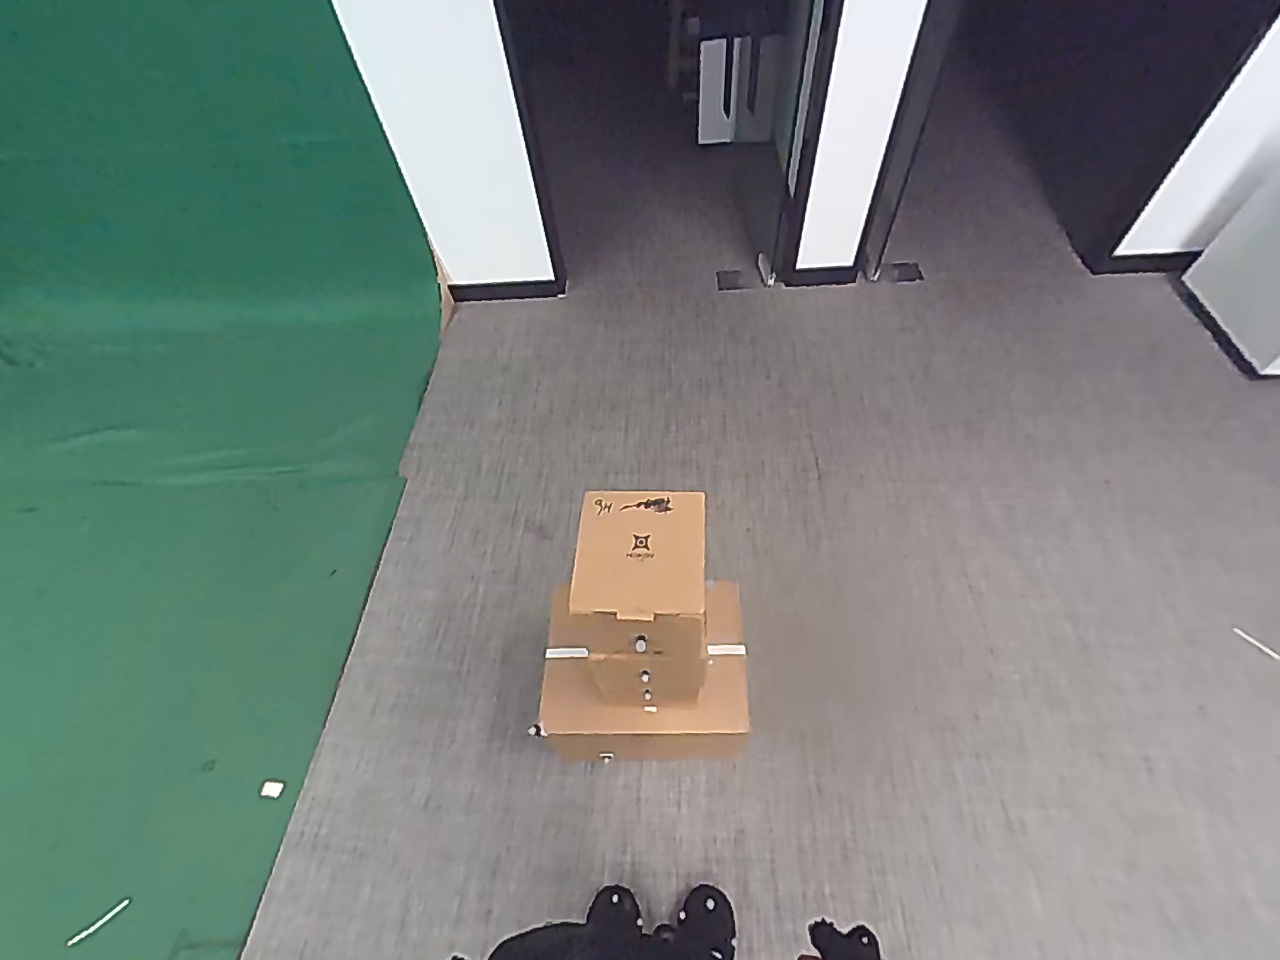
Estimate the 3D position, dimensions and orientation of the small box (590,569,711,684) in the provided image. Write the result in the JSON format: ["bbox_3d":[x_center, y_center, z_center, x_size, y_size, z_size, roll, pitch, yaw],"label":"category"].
[{"bbox_3d":[0.016,0.230,0.885,0.179,0.176,0.168,-3,56,2],"label":"small box"}]

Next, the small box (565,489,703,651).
[{"bbox_3d":[0.003,0.130,0.755,0.168,0.176,0.179,1,57,6],"label":"small box"}]

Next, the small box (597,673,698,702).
[{"bbox_3d":[0.020,0.317,1.024,0.179,0.176,0.168,0,57,3],"label":"small box"}]
